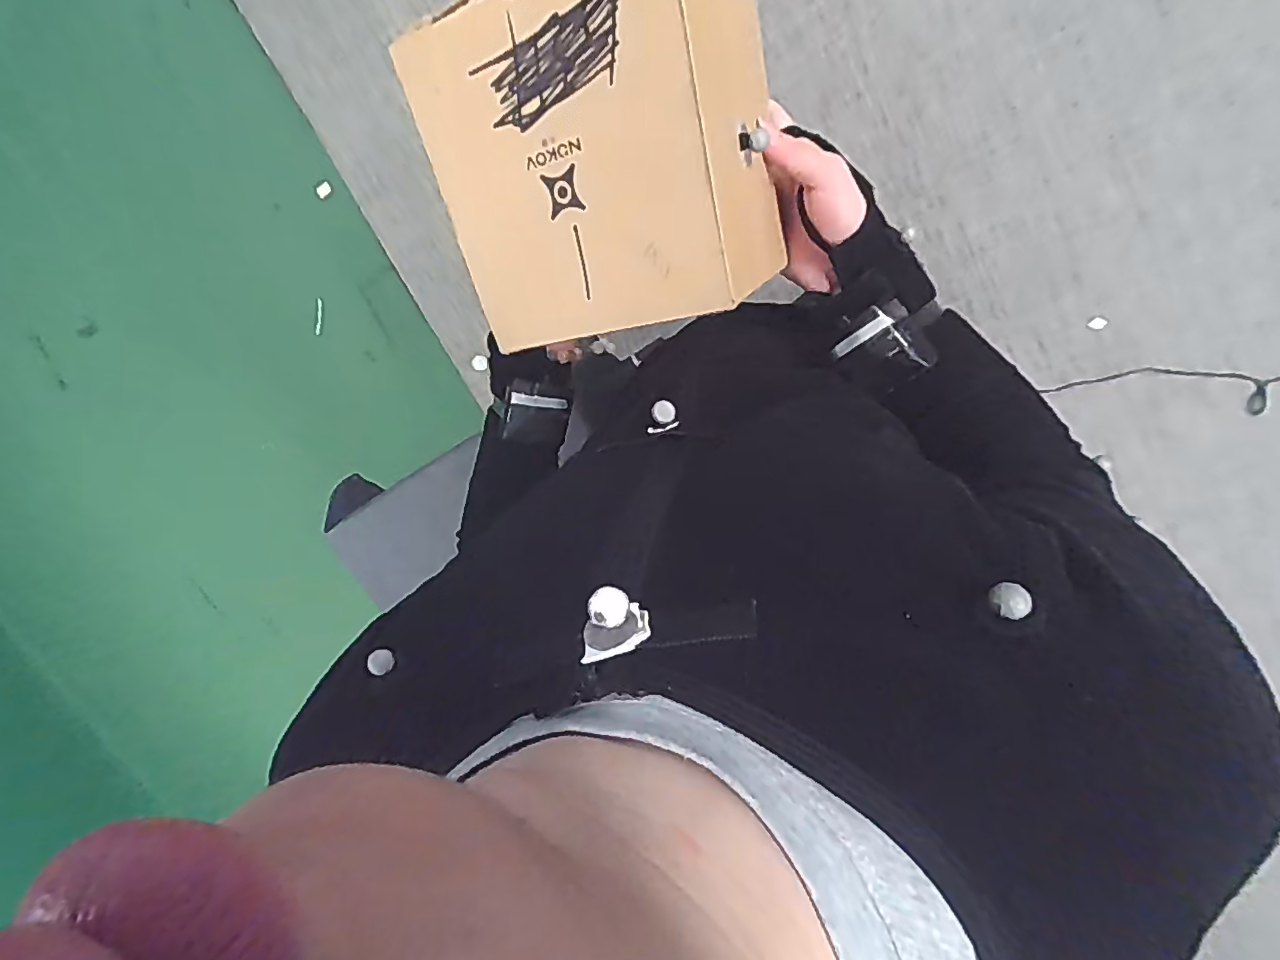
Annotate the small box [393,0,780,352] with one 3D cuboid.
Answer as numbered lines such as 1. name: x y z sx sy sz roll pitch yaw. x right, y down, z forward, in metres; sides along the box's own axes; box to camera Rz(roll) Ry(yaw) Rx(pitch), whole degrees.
1. small box: -0.013 -0.200 0.356 0.168 0.176 0.179 -2 117 28
